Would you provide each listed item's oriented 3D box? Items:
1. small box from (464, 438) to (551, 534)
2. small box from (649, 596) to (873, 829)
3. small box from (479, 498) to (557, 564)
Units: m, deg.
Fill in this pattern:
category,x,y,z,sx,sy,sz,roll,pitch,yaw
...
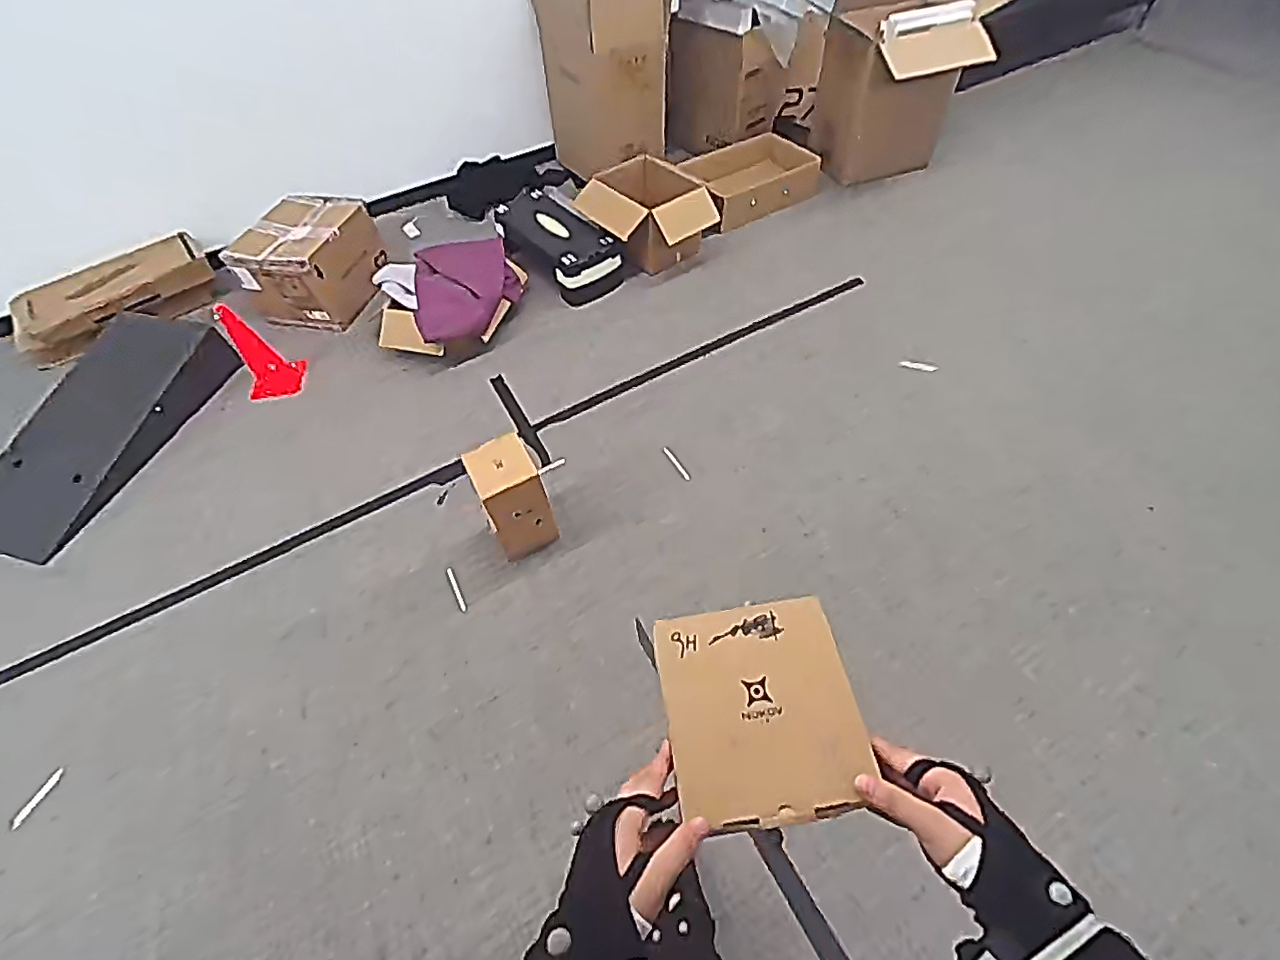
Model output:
category,x,y,z,sx,sy,sz,roll,pitch,yaw
small box,-0.370,0.021,1.526,0.168,0.176,0.179,-27,58,-14
small box,0.106,0.240,0.548,0.168,0.176,0.179,-9,56,-1
small box,-0.365,0.124,1.652,0.179,0.176,0.168,-25,56,-14
